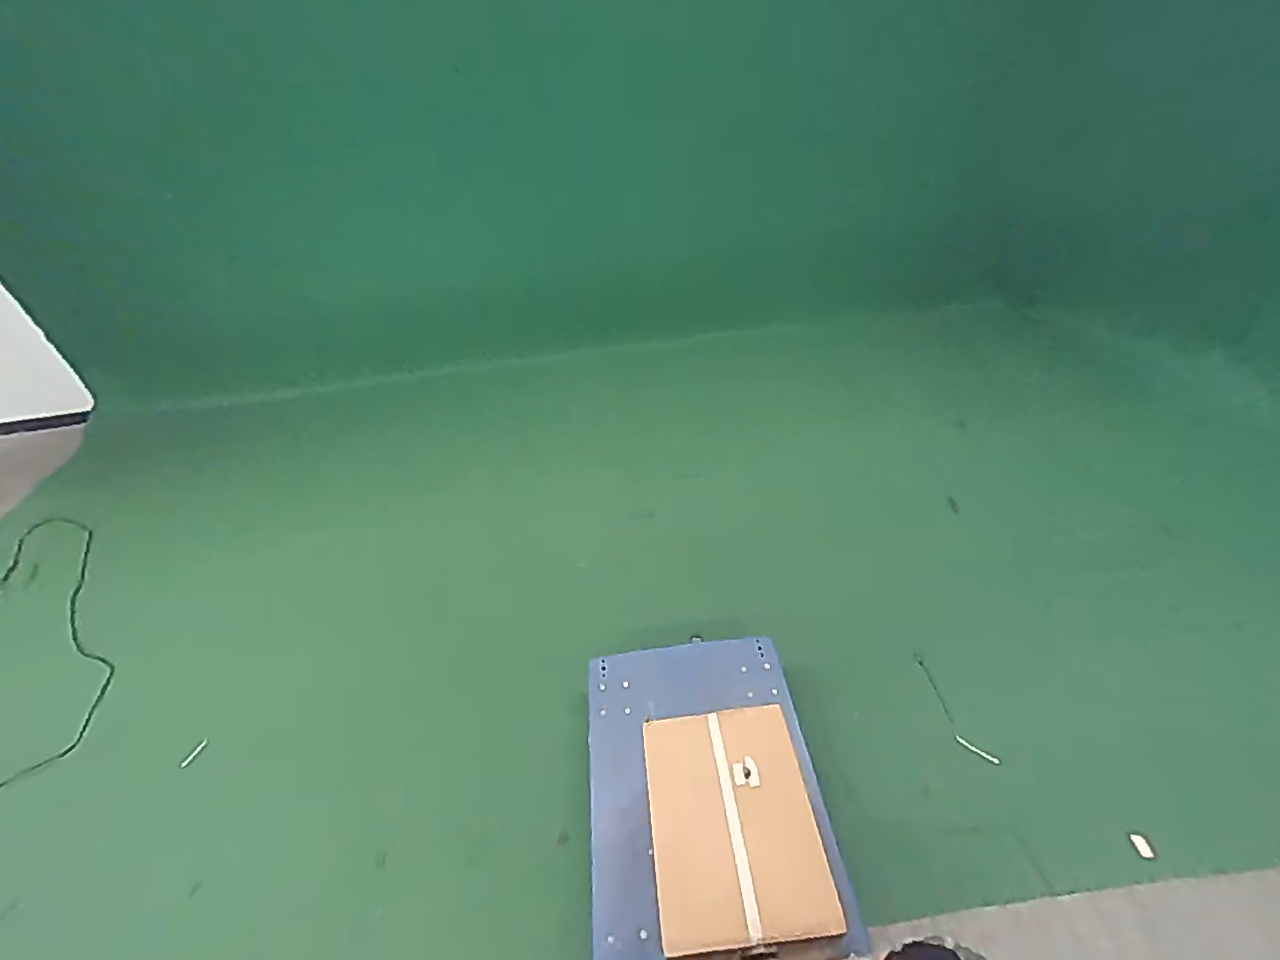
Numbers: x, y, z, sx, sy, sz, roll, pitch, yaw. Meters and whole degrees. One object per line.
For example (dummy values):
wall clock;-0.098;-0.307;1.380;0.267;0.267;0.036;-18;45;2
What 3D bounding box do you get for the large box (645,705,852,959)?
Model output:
large box;0.196;0.756;1.130;0.320;0.320;0.408;-7;39;-1
